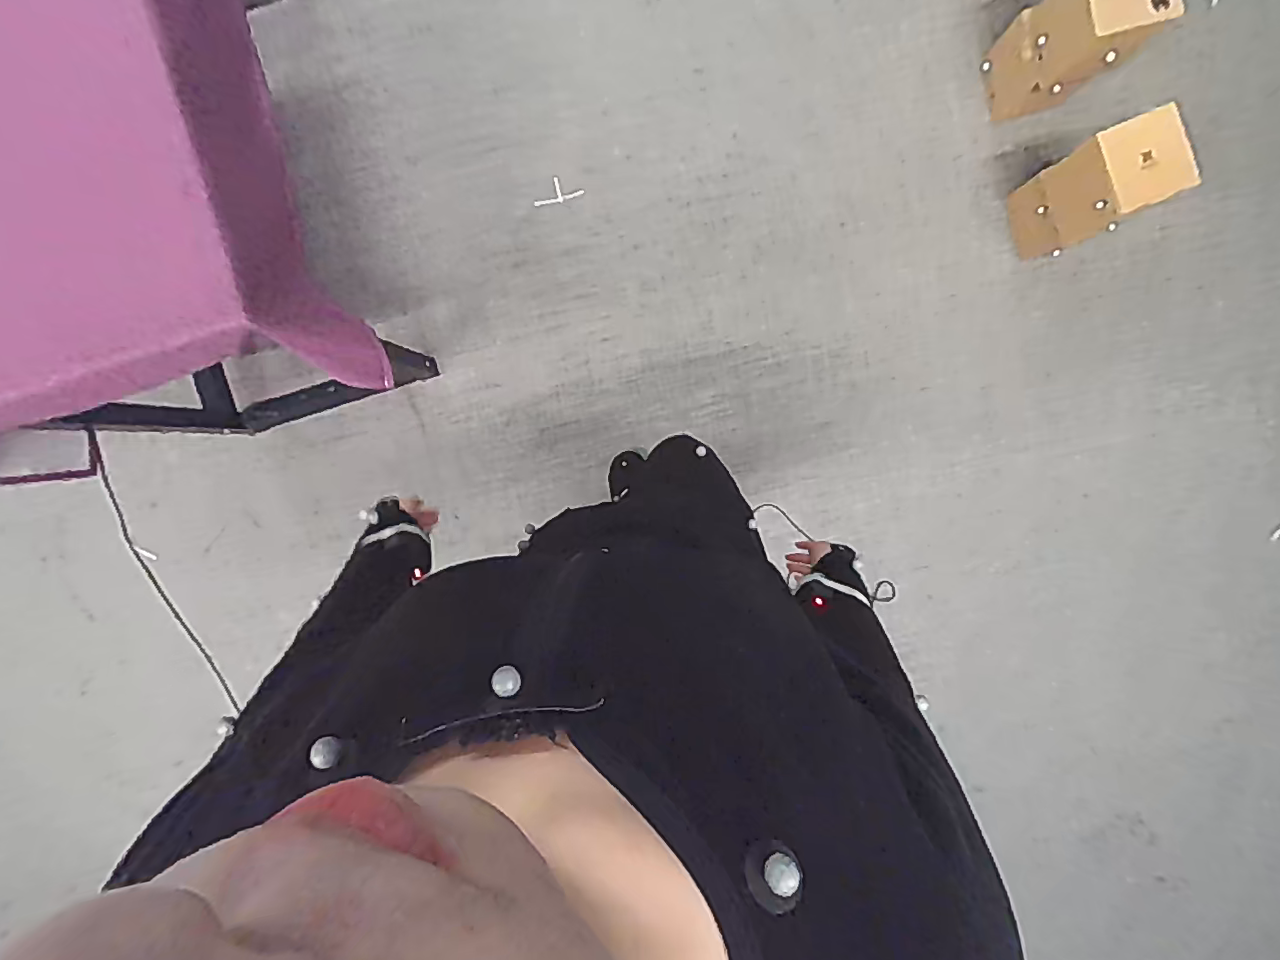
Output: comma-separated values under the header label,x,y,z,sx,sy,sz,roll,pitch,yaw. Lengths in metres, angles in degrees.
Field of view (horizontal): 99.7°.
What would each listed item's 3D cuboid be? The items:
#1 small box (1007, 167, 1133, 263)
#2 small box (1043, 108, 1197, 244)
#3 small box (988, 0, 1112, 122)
label,x,y,z,sx,sy,sz,roll,pitch,yaw
small box,1.053,-0.670,1.340,0.168,0.176,0.179,-16,94,4
small box,1.032,-0.651,1.180,0.168,0.176,0.179,-21,93,4
small box,0.983,-1.016,1.318,0.179,0.176,0.168,-13,94,3
